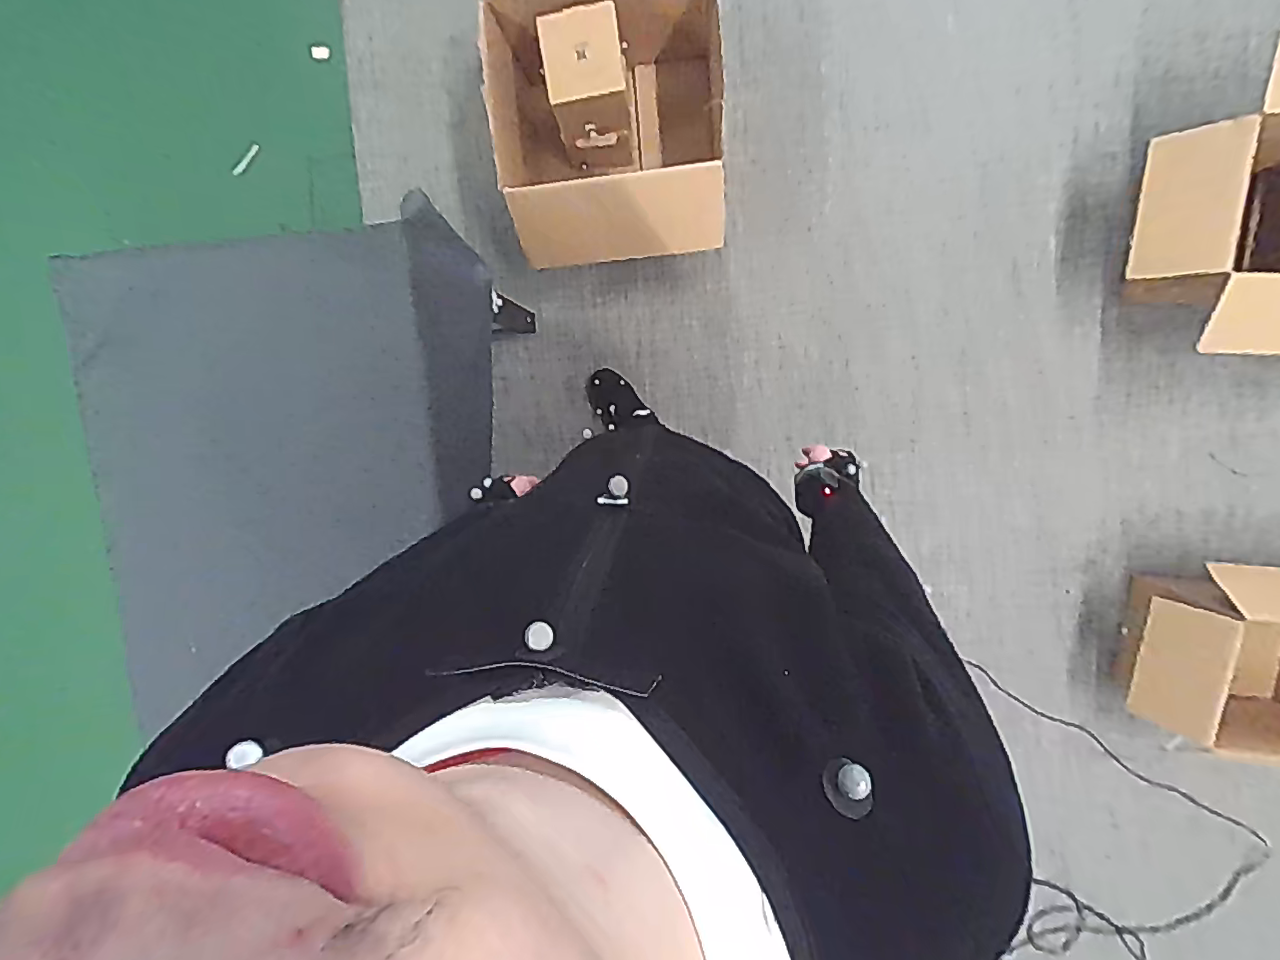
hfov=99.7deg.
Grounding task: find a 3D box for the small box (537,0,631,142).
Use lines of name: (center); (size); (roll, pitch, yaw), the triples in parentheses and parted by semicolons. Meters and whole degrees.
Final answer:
small box: (-0.117, -0.887, 1.189); (0.168, 0.176, 0.179); (-9, 97, 4)
